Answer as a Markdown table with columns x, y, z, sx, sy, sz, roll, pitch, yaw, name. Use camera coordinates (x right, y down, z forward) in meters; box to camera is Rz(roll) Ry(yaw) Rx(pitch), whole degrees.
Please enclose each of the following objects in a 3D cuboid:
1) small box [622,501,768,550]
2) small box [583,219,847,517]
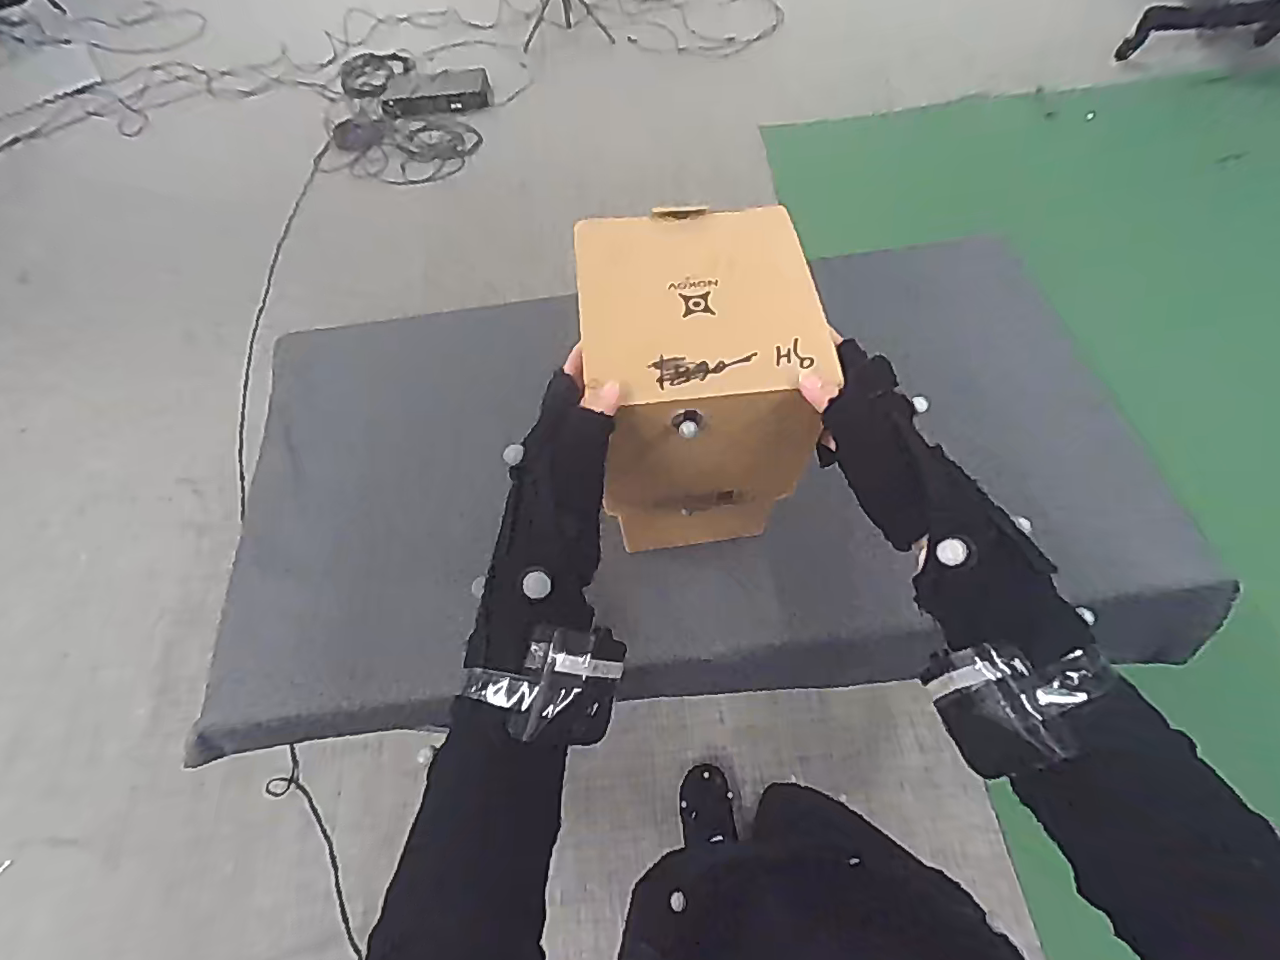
| x | y | z | sx | sy | sz | roll | pitch | yaw | name |
| --- | --- | --- | --- | --- | --- | --- | --- | --- | --- |
| 0.059 | -0.024 | 0.664 | 0.179 | 0.176 | 0.168 | -8 | 62 | 0 | small box |
| 0.046 | -0.088 | 0.462 | 0.168 | 0.176 | 0.179 | -8 | 63 | -3 | small box |
